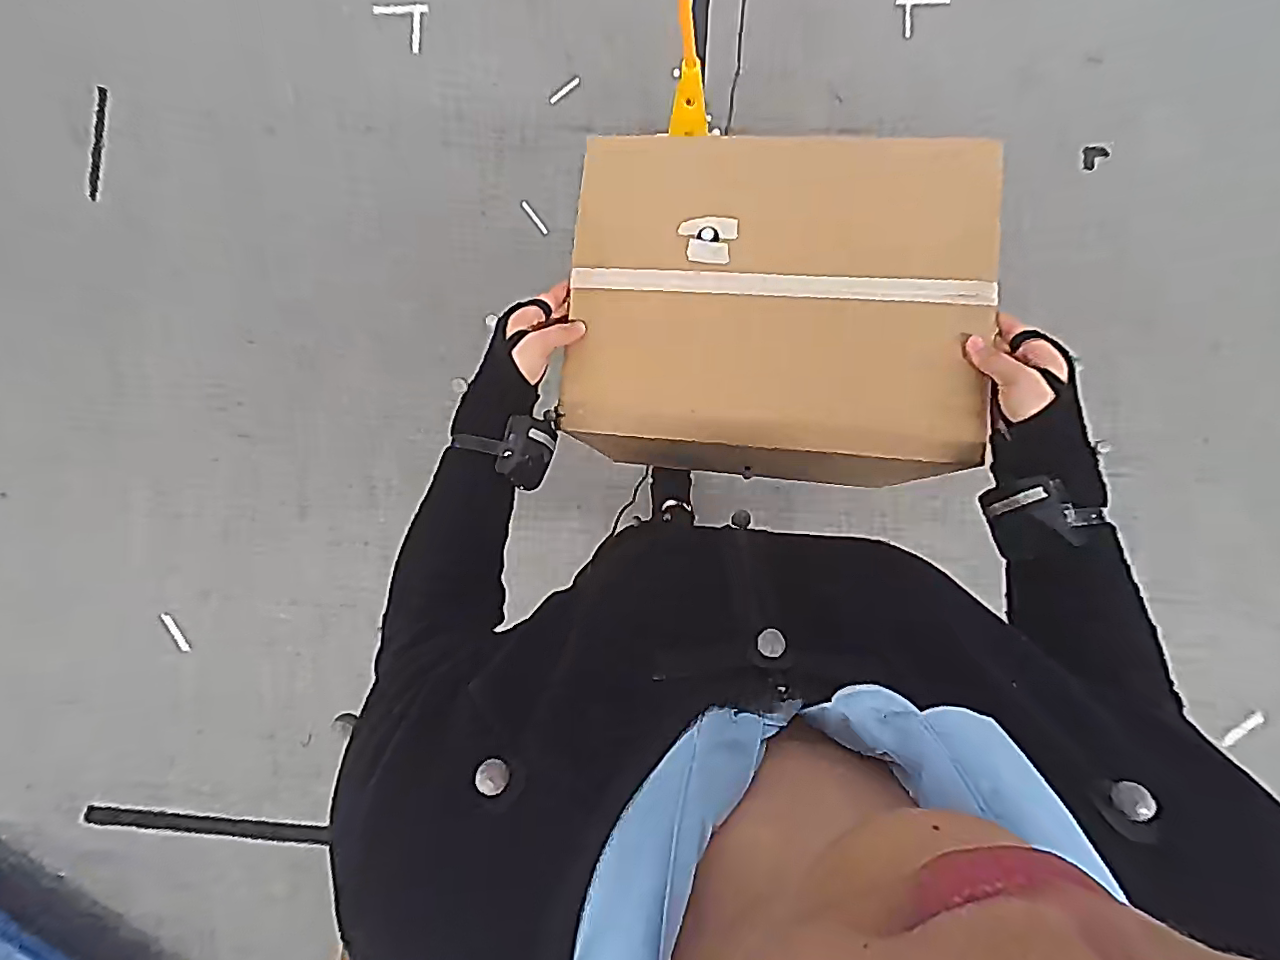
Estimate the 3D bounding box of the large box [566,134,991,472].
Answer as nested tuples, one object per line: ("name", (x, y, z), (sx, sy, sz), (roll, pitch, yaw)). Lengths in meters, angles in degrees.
("large box", (0.153, -0.184, 0.685), (0.408, 0.320, 0.320), (5, 85, 9))
